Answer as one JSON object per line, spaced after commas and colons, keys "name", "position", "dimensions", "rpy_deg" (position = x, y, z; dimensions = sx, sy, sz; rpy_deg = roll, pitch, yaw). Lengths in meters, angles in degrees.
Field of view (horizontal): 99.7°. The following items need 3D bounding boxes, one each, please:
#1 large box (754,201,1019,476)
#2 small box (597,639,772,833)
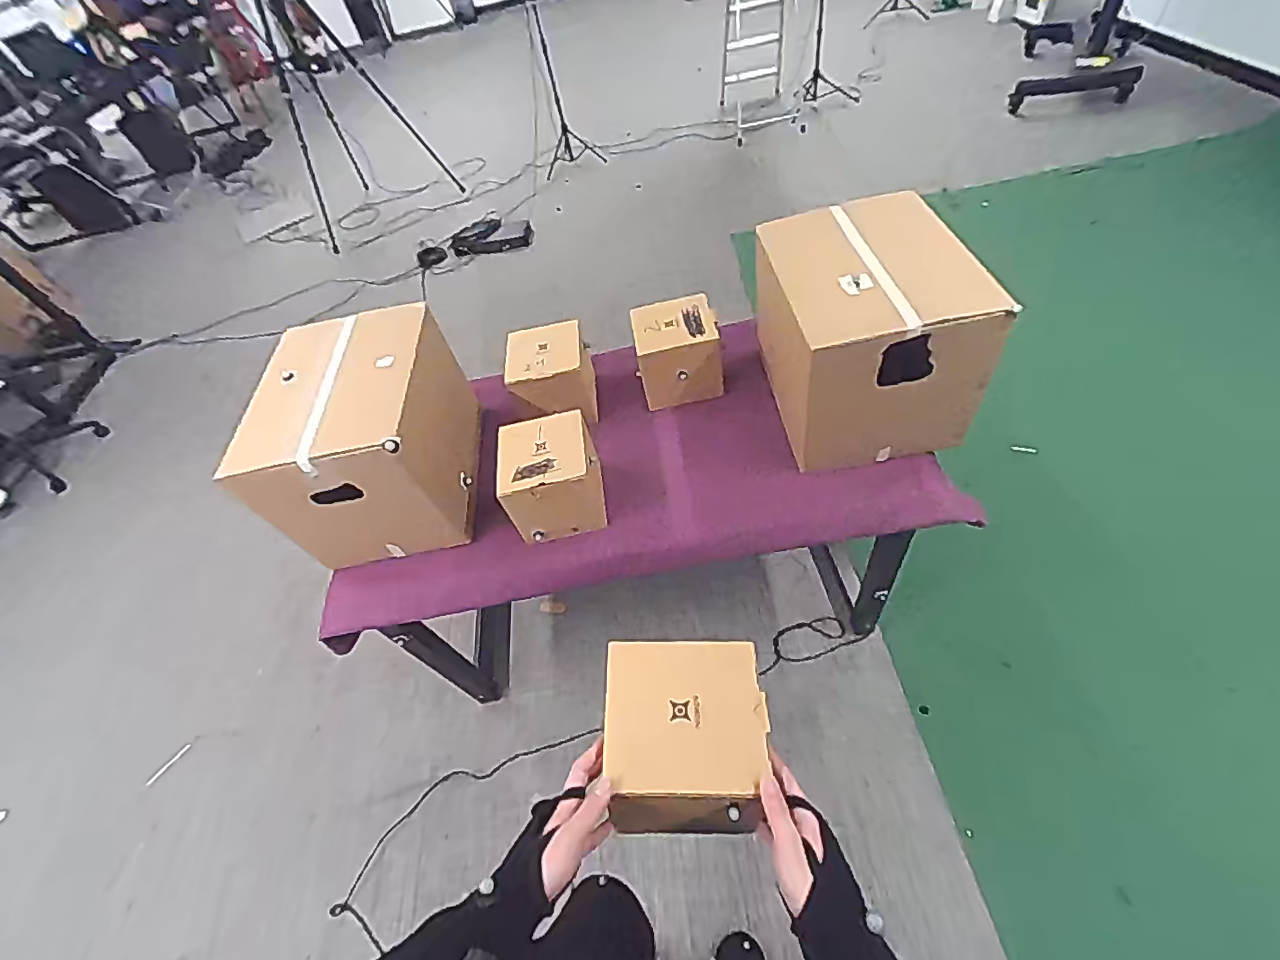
{"name": "large box", "position": [0.421, -0.273, 1.052], "dimensions": [0.320, 0.320, 0.408], "rpy_deg": [-11, 51, 5]}
{"name": "small box", "position": [0.046, 0.306, 0.643], "dimensions": [0.179, 0.176, 0.168], "rpy_deg": [0, 45, 0]}
